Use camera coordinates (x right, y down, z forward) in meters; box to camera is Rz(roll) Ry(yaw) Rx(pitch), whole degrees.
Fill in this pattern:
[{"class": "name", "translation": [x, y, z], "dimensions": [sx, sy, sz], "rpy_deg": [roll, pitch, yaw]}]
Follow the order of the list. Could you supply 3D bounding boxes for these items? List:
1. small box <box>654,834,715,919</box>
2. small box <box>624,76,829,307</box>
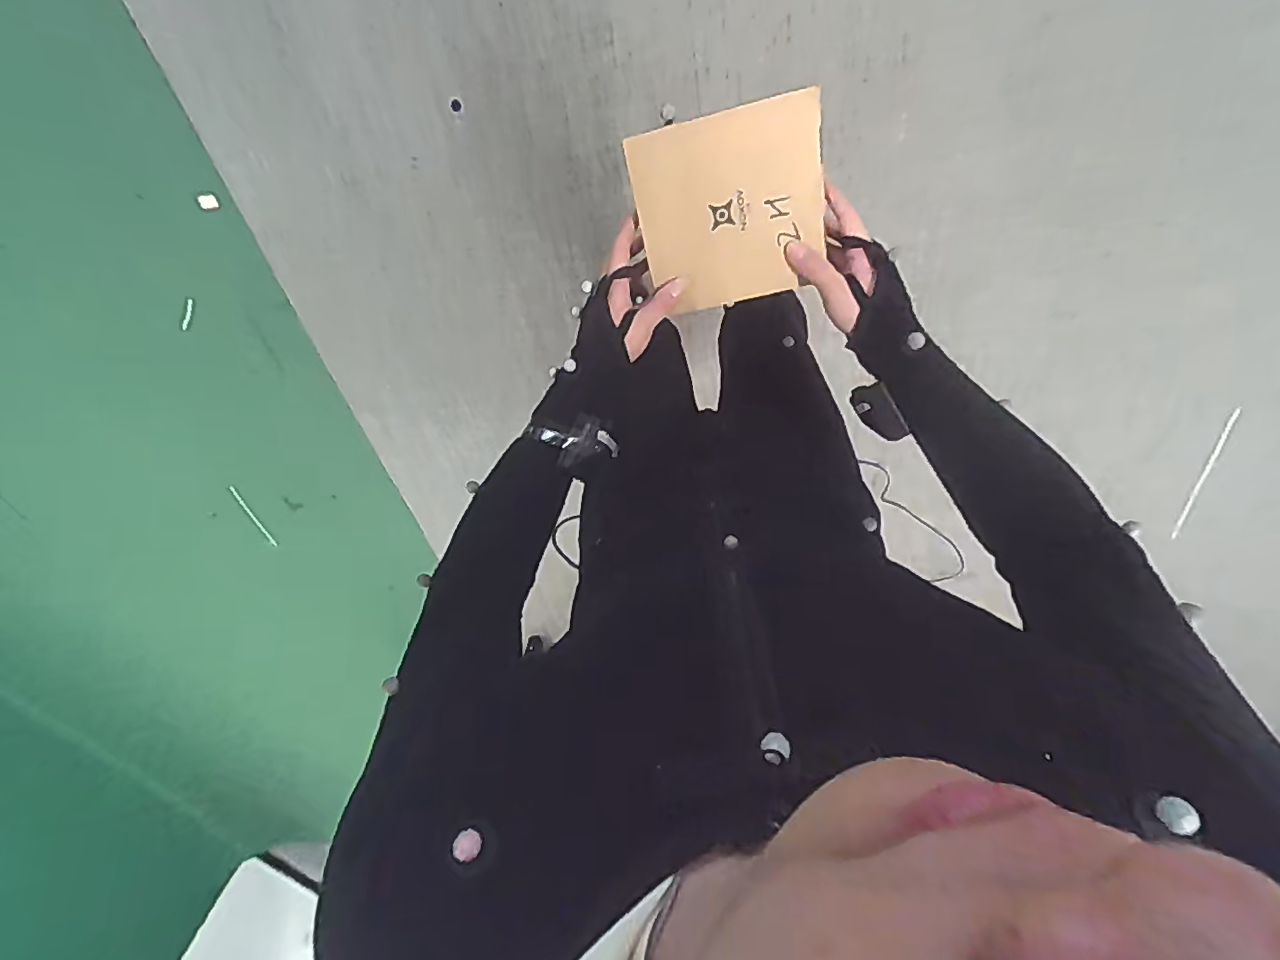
[{"class": "small box", "translation": [0.138, 1.212, 1.658], "dimensions": [0.179, 0.176, 0.168], "rpy_deg": [1, 128, 6]}, {"class": "small box", "translation": [0.089, -0.301, 0.572], "dimensions": [0.179, 0.176, 0.168], "rpy_deg": [-10, 122, 8]}]
